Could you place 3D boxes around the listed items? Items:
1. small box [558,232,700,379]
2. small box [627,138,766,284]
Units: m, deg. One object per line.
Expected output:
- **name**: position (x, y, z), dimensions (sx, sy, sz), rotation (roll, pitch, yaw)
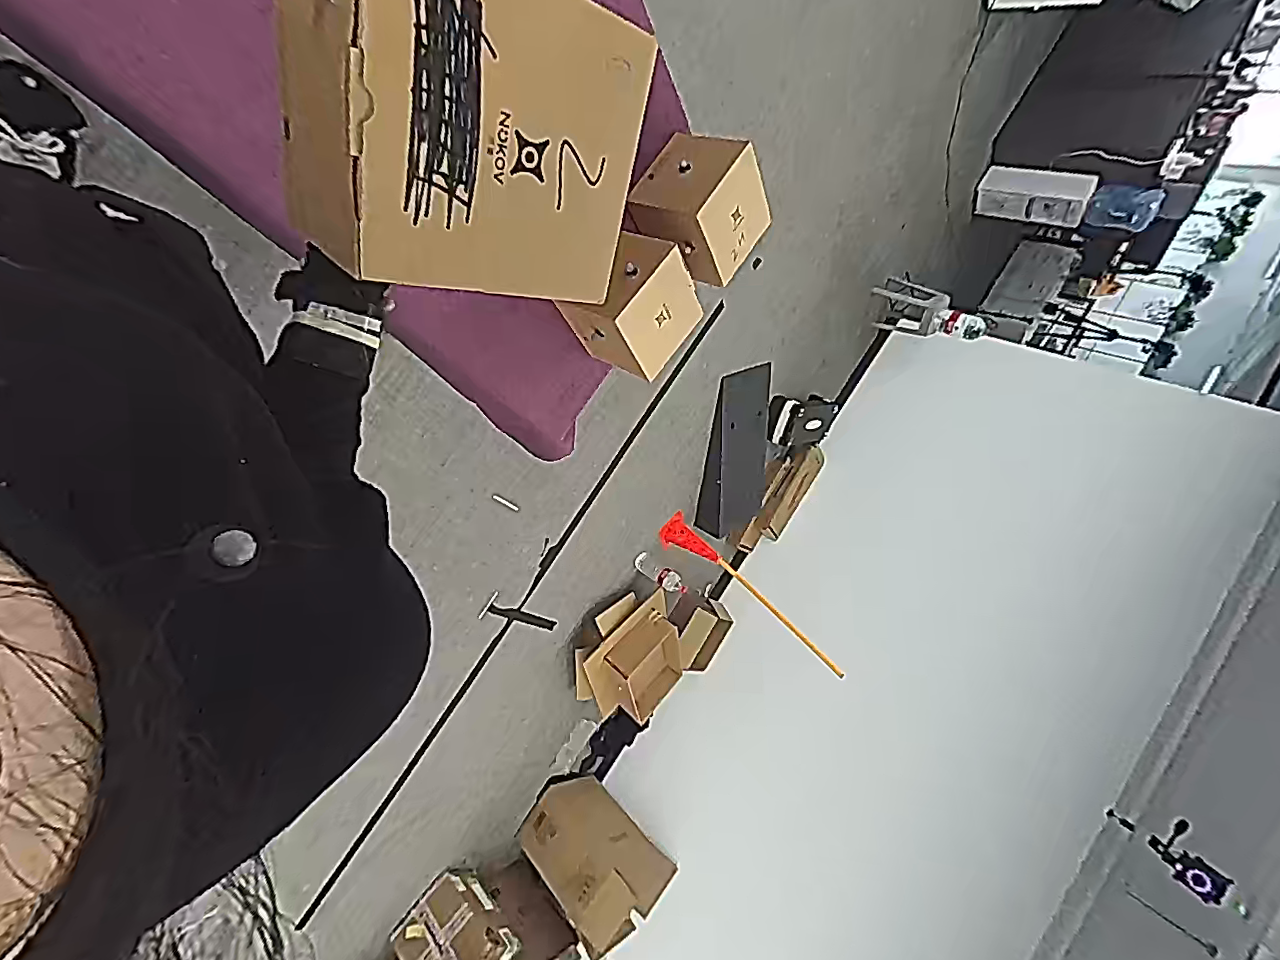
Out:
- **small box**: position (-0.024, -0.318, 0.980), dimensions (0.179, 0.176, 0.168), rotation (-54, 146, -10)
- **small box**: position (0.105, -0.499, 1.000), dimensions (0.168, 0.176, 0.179), rotation (-55, 147, -6)
